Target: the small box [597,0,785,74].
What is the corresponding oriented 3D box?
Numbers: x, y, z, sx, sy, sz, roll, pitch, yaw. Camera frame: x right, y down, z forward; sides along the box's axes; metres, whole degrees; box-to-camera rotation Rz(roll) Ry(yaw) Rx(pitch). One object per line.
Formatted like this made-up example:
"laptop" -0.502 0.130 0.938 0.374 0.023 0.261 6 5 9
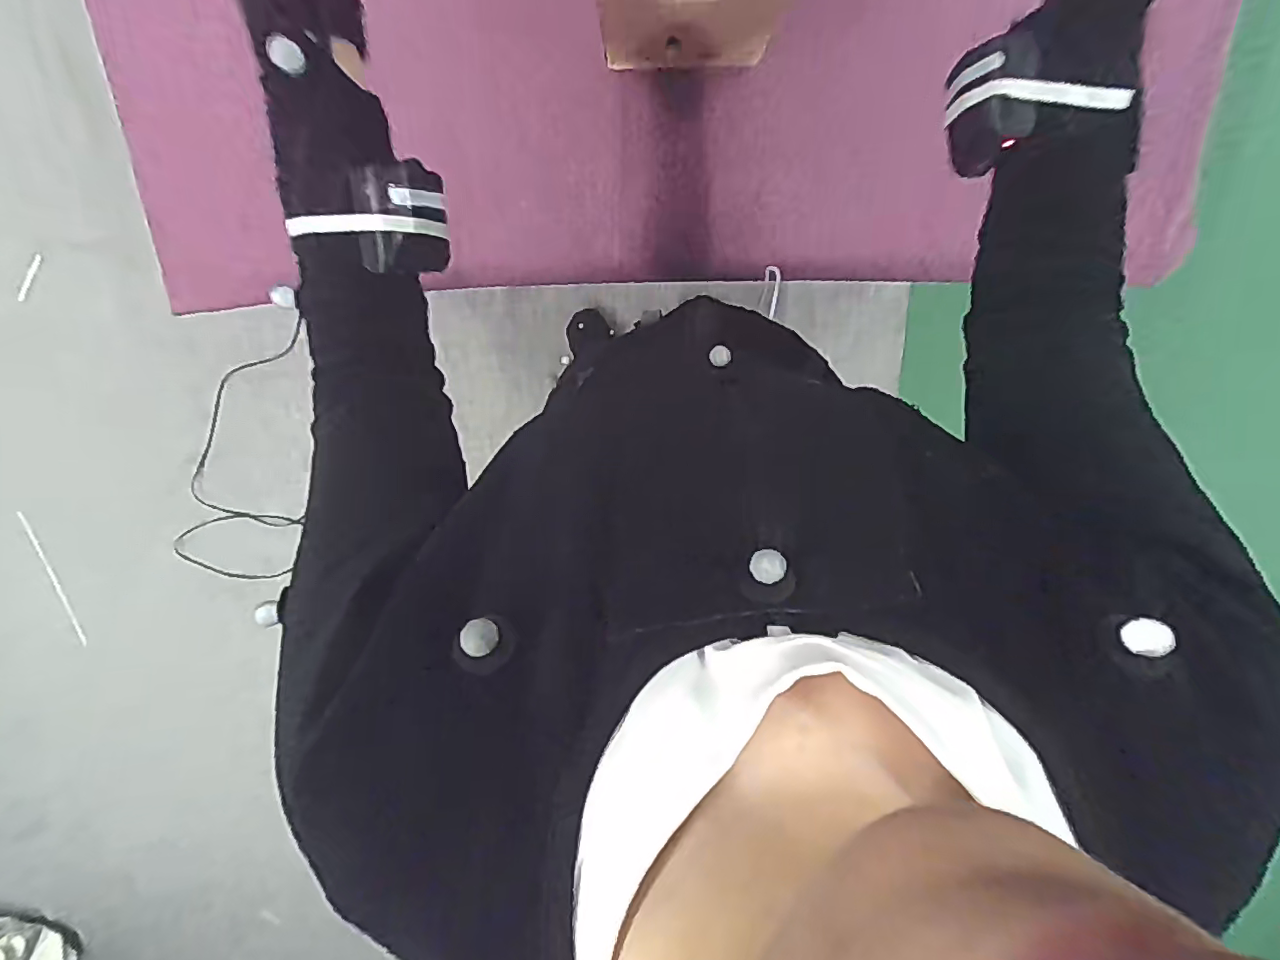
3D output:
"small box" 0.041 -0.506 0.491 0.168 0.176 0.179 -1 109 1
